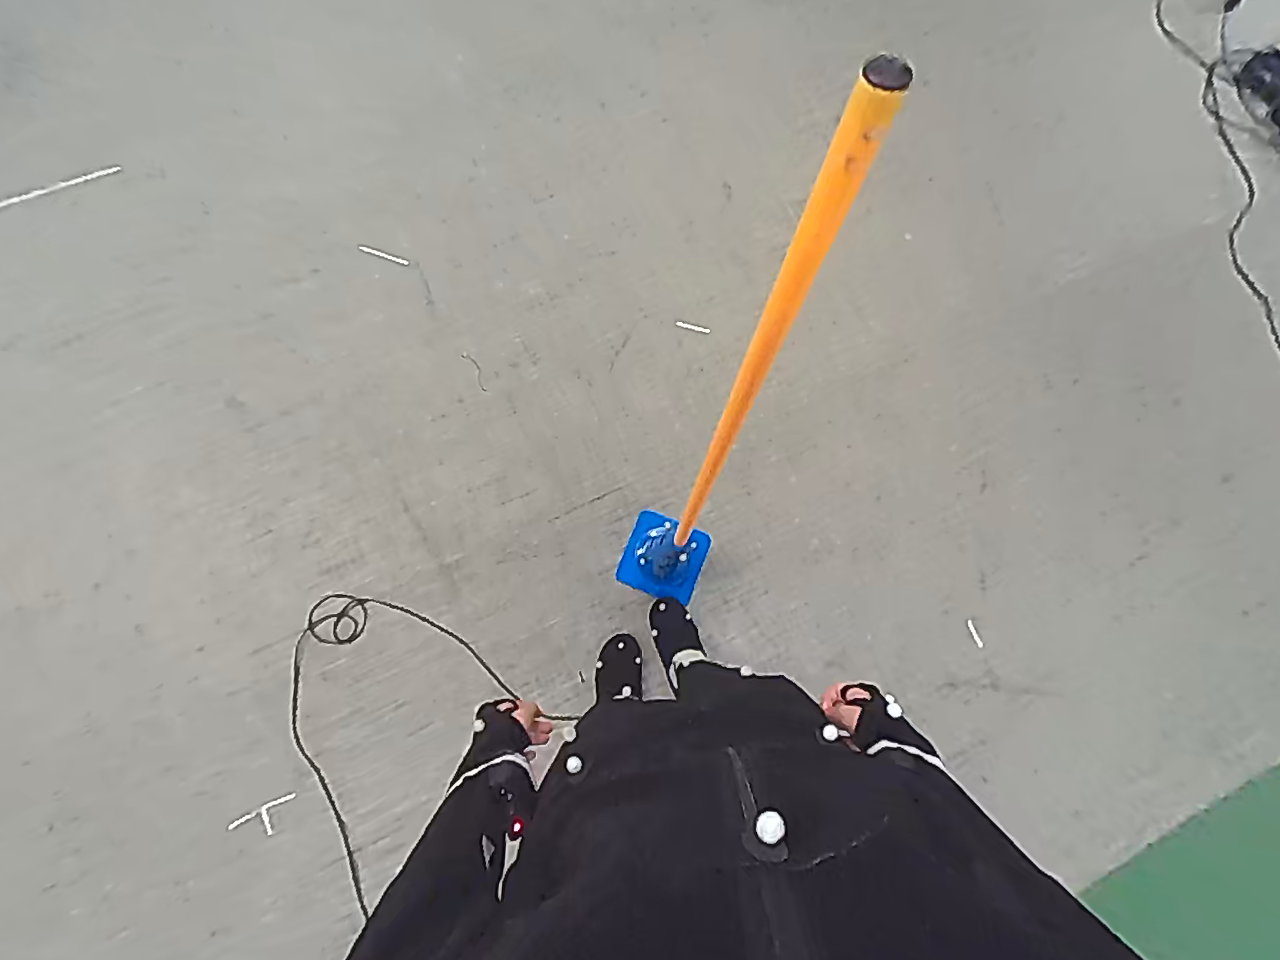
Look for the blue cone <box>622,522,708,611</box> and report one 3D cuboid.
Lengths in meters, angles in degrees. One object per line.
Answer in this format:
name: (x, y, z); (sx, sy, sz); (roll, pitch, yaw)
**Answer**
blue cone: (0.070, 0.173, 1.183); (0.192, 0.380, 0.193); (20, 76, 2)
